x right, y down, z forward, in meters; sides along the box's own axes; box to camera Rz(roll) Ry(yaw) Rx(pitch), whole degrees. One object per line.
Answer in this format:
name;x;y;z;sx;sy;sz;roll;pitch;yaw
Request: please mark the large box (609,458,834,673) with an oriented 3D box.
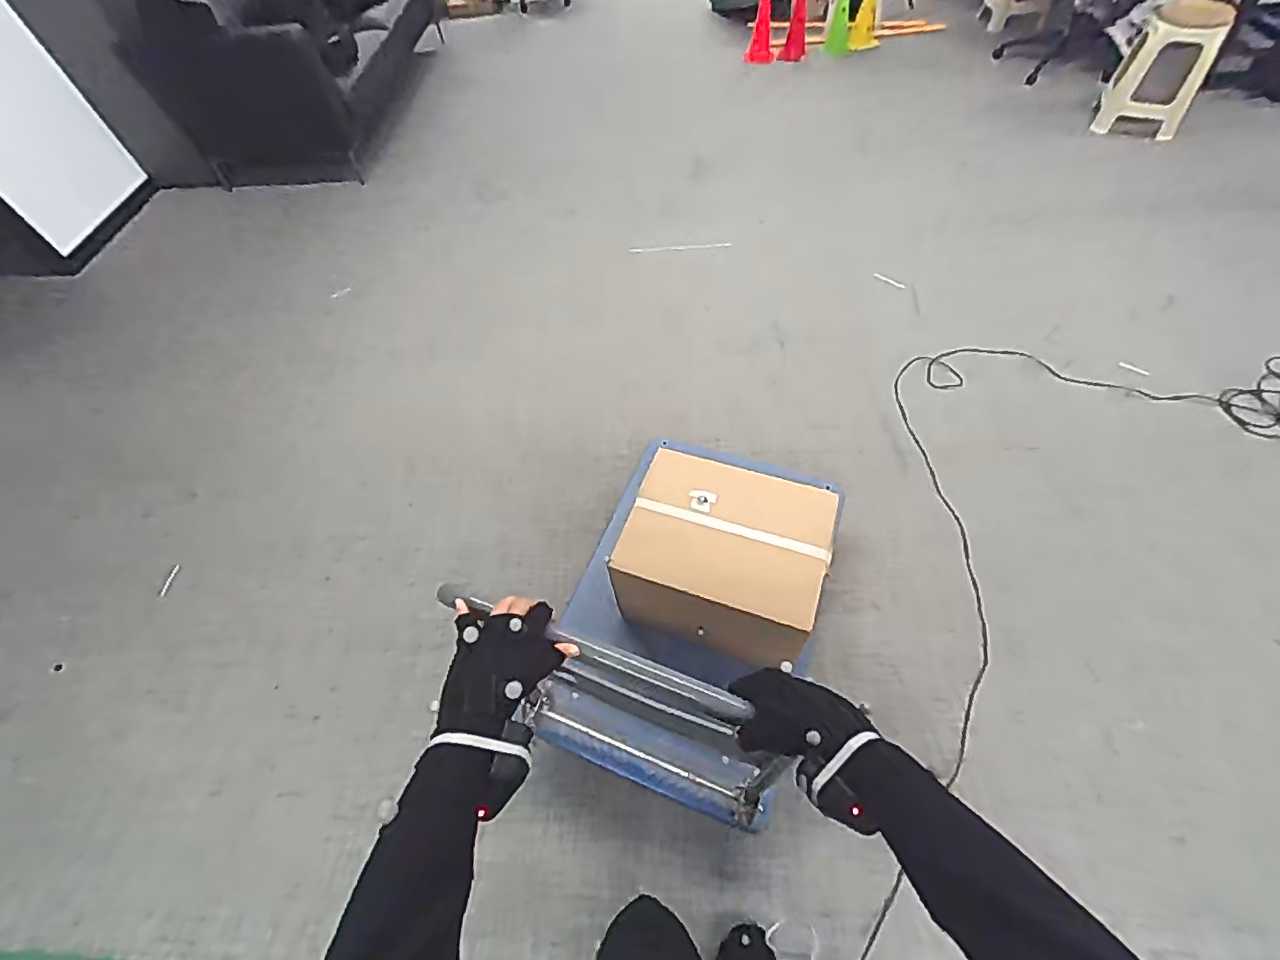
large box;0.190;0.197;1.233;0.408;0.320;0.320;15;58;16
